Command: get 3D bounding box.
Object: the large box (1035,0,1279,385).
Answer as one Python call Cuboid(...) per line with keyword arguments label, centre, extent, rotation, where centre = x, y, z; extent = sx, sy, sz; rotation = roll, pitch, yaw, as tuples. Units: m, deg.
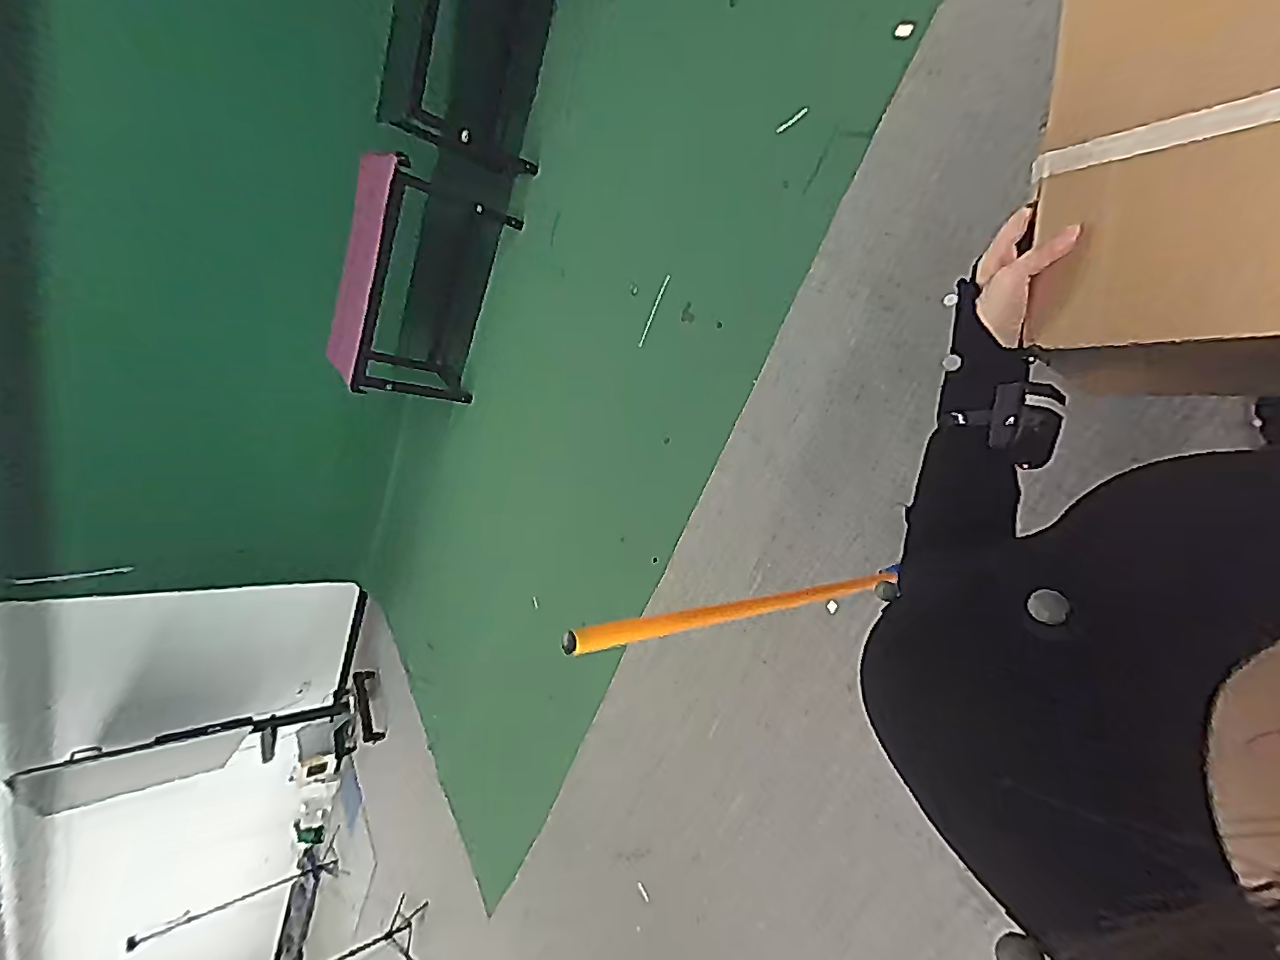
Cuboid(label="large box", centre=(0.592, -0.260, 0.424), extent=(0.408, 0.320, 0.320), rotation=(7, 94, 45))
